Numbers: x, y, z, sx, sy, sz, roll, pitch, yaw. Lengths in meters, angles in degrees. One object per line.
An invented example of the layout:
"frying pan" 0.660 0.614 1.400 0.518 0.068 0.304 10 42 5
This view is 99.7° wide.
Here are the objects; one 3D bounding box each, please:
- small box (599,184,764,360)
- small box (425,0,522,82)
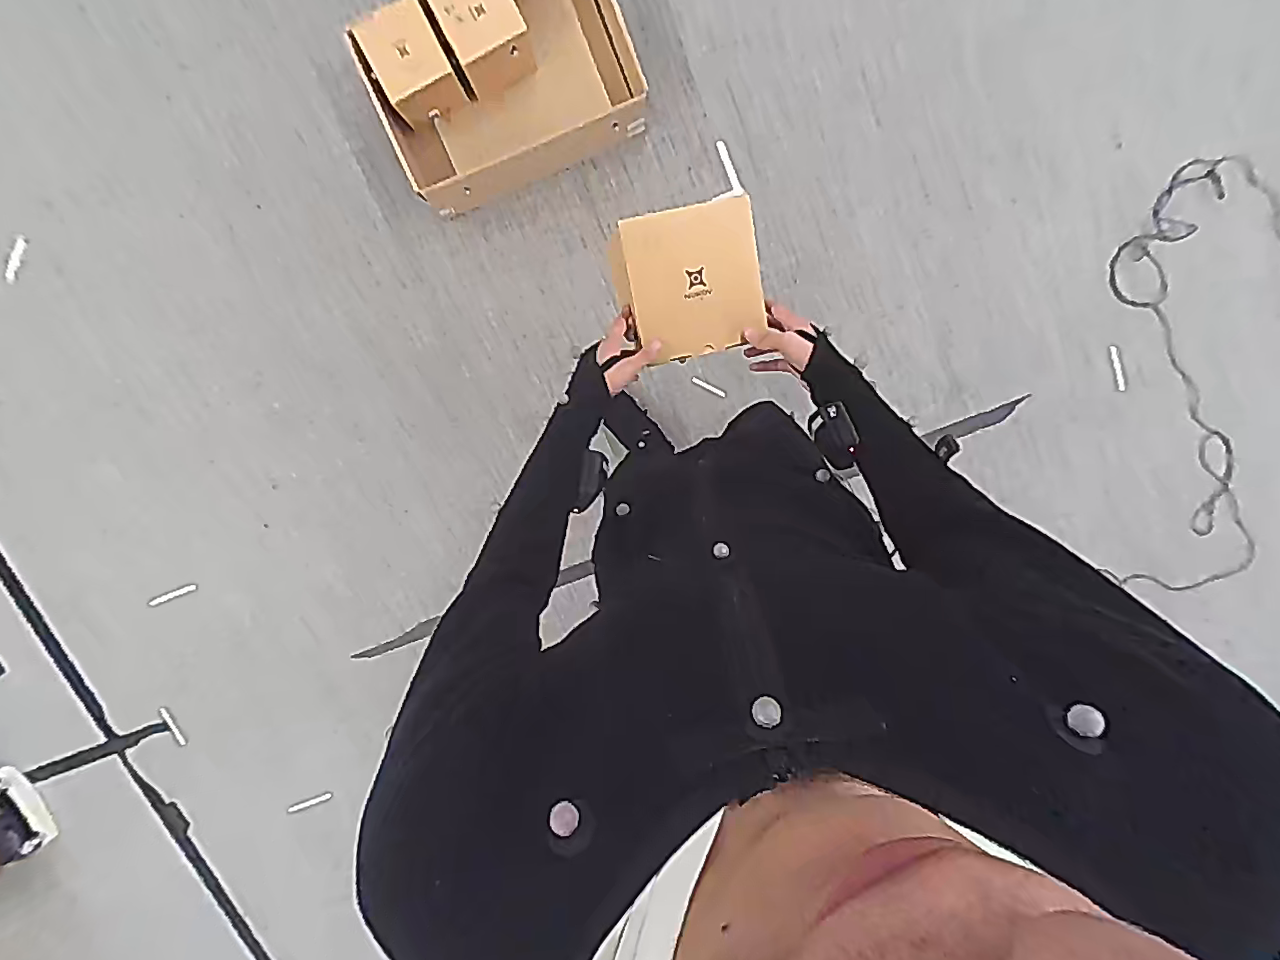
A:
"small box" 0.047 -0.266 0.726 0.168 0.176 0.179 -15 106 -5
"small box" -0.393 -1.099 1.276 0.179 0.176 0.168 -28 100 3
